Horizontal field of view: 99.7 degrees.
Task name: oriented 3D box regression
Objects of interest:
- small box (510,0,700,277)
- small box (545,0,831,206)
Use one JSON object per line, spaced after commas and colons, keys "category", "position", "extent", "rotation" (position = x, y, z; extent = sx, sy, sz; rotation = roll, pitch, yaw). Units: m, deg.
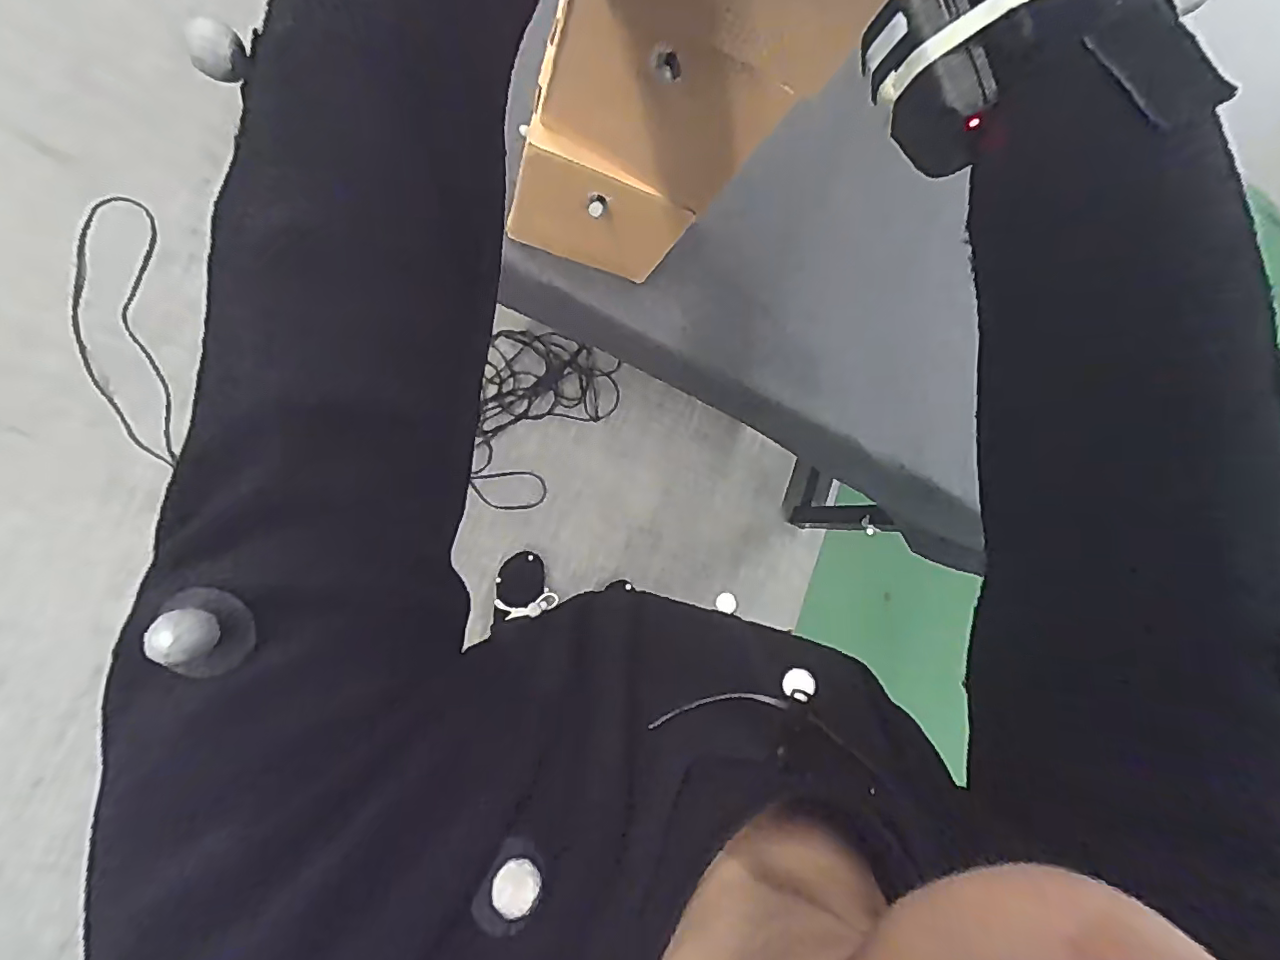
{"category": "small box", "position": [-0.034, -0.349, 0.594], "extent": [0.179, 0.176, 0.168], "rotation": [13, 81, -17]}
{"category": "small box", "position": [0.035, -0.370, 0.448], "extent": [0.179, 0.176, 0.168], "rotation": [22, 80, -16]}
